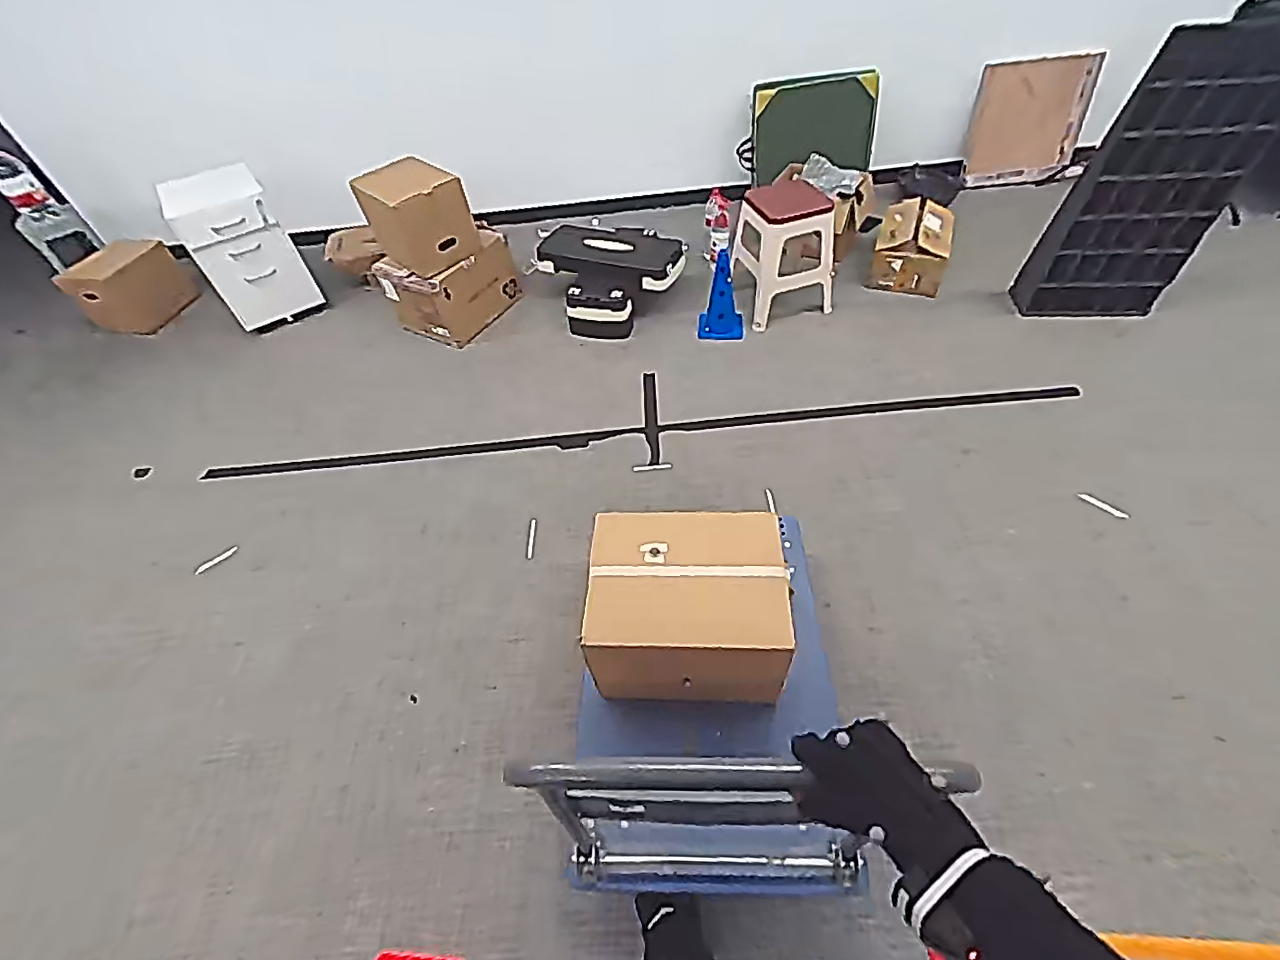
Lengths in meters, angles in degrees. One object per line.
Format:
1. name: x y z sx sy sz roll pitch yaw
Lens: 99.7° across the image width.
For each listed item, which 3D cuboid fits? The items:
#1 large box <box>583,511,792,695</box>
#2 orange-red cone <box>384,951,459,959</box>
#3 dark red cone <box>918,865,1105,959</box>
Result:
1. large box: 0.107 0.288 1.230 0.408 0.320 0.320 -2 50 6
2. orange-red cone: -0.462 0.950 0.933 0.198 0.360 0.199 1 49 7
3. dark red cone: 0.658 0.770 0.925 0.201 0.394 0.202 -4 50 1
